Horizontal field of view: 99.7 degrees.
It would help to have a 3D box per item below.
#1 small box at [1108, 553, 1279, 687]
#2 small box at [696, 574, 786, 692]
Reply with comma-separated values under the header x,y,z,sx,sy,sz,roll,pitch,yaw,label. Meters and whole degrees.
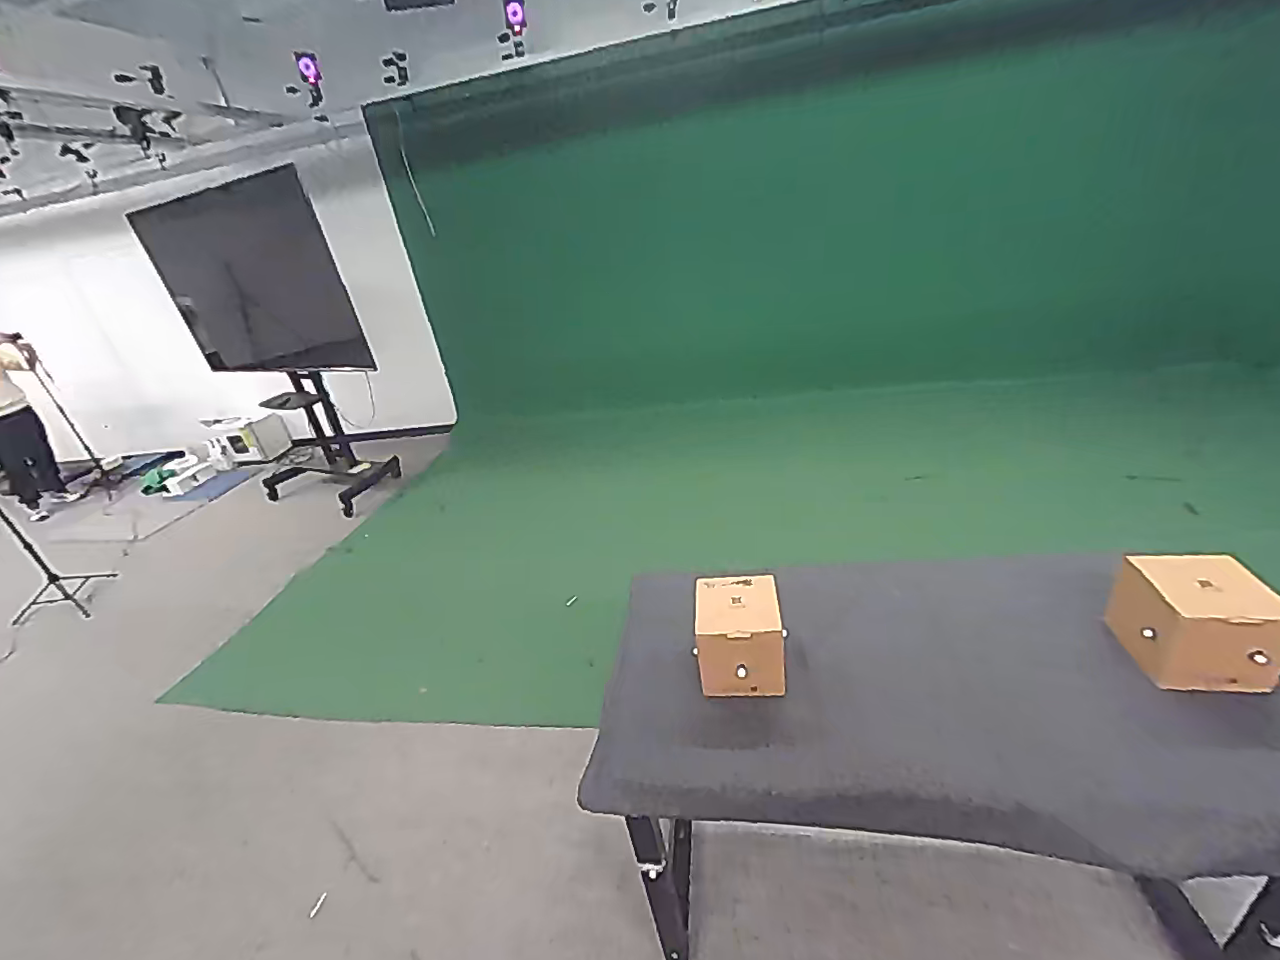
x,y,z,sx,sy,sz,roll,pitch,yaw,label
1.001,0.250,0.977,0.168,0.176,0.179,-2,26,14,small box
0.210,0.320,1.124,0.168,0.176,0.179,-4,27,10,small box
